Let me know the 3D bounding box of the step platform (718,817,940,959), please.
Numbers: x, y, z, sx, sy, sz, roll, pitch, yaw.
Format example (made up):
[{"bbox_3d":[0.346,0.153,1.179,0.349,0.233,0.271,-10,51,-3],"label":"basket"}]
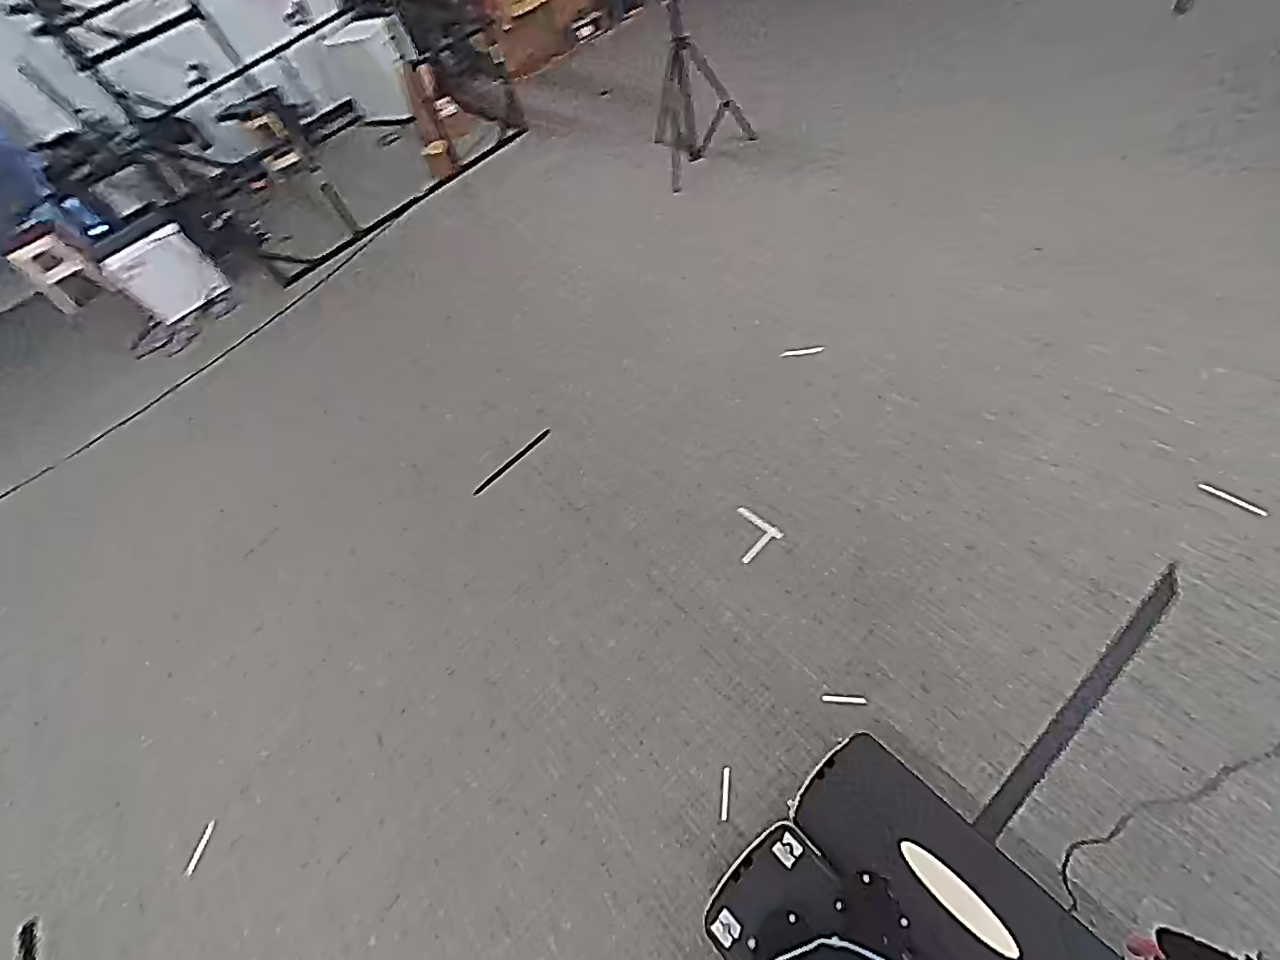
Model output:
[{"bbox_3d":[0.478,1.036,1.053,0.286,0.204,0.684,-43,55,-15],"label":"step platform"}]
